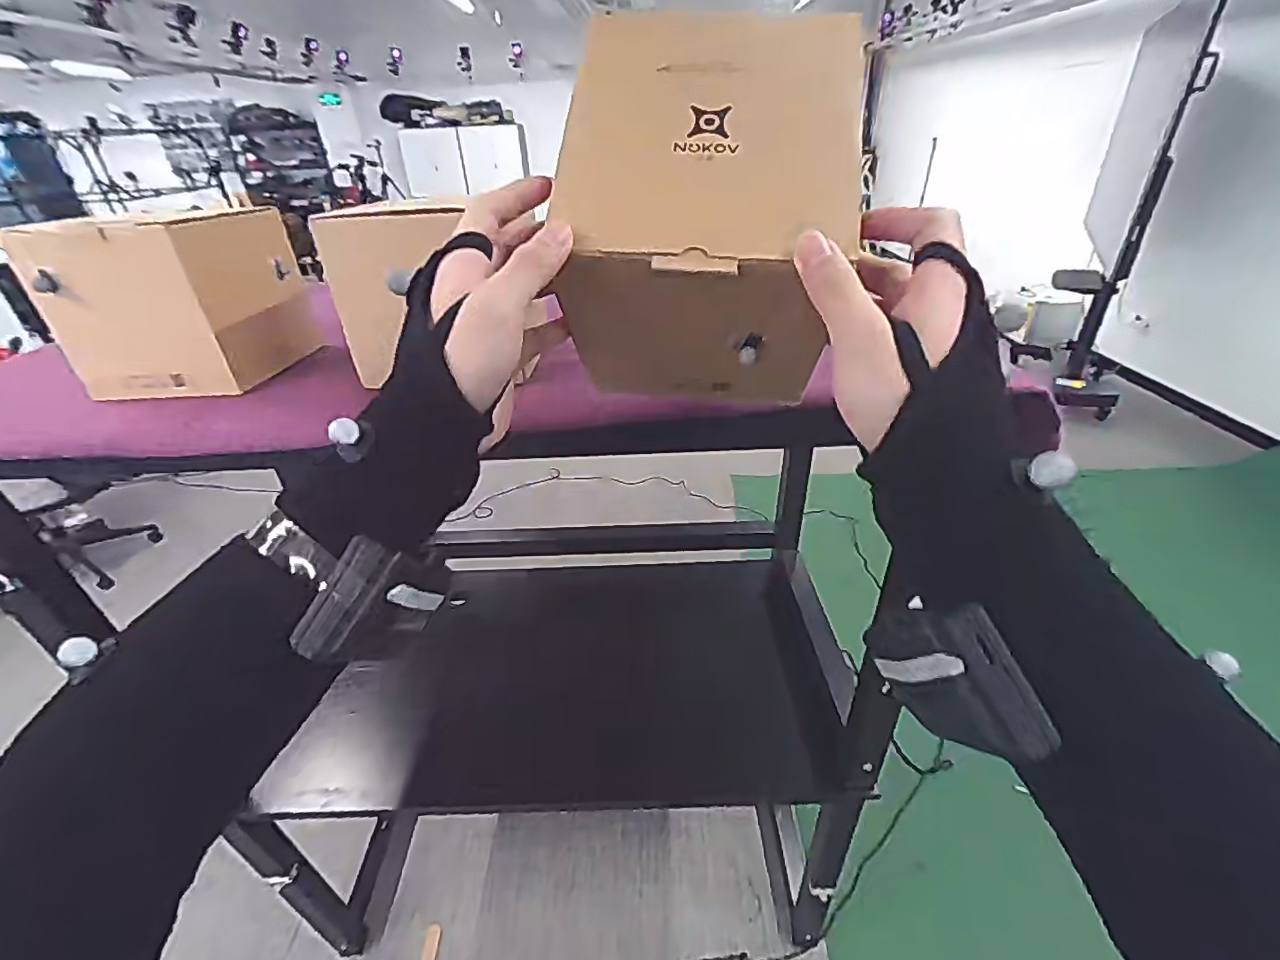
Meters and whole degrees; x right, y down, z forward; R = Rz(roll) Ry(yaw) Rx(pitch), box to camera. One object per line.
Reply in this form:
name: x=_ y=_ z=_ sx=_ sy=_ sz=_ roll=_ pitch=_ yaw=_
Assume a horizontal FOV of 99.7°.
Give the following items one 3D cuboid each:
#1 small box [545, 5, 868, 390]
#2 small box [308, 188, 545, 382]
small box: x=0.047 y=-0.179 z=0.378 sx=0.168 sy=0.176 sz=0.179 roll=7 pitch=73 yaw=7
small box: x=-0.206 y=-0.213 z=0.587 sx=0.179 sy=0.176 sz=0.168 roll=-1 pitch=31 yaw=1
